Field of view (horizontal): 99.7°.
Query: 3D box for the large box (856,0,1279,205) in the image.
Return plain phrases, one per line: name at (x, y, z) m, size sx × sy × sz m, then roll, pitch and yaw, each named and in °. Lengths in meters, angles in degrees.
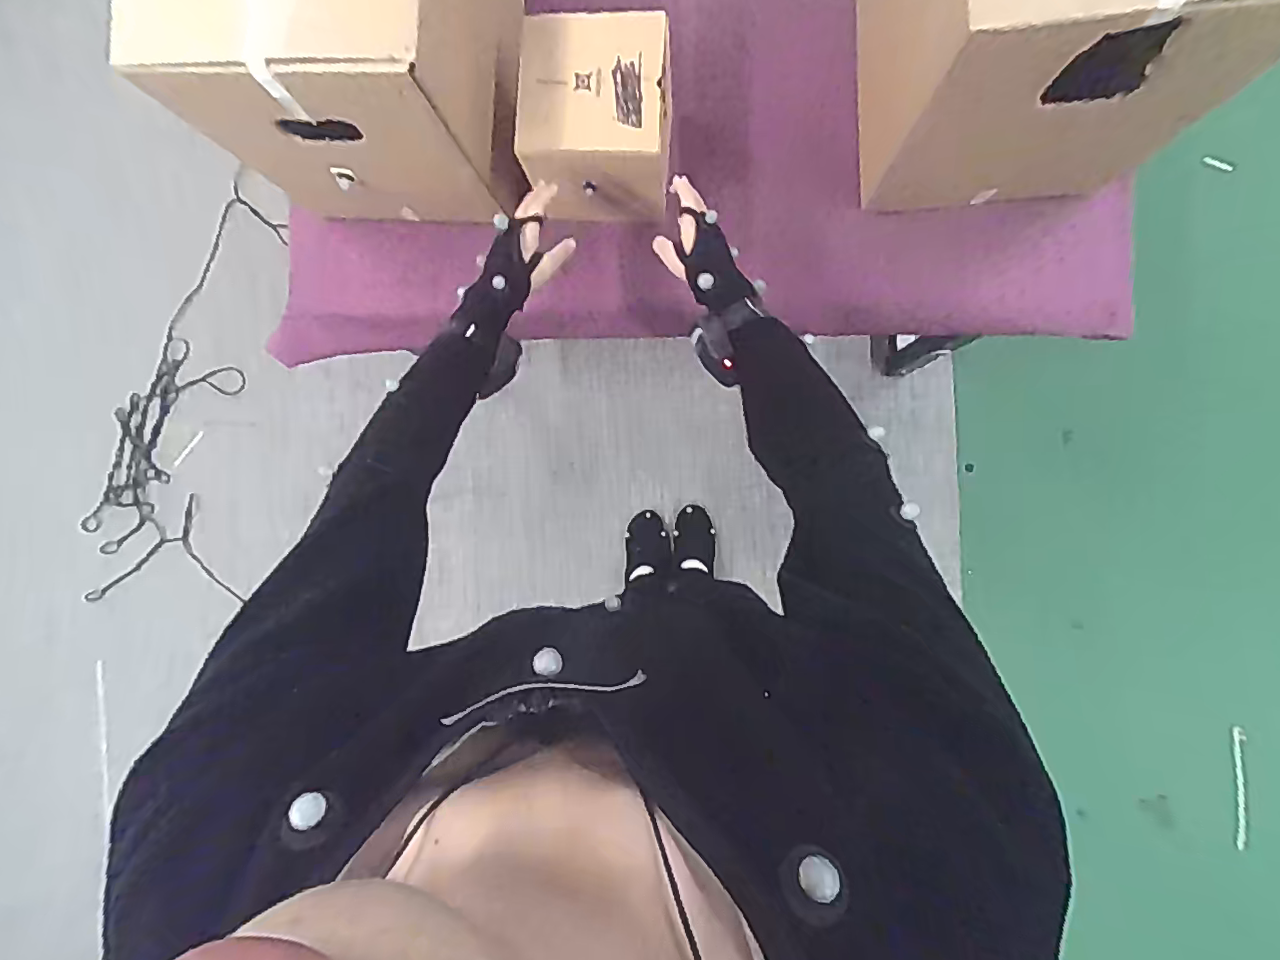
large box at (0.445, -0.589, 0.602) m, size 0.320 × 0.320 × 0.408 m, roll -2°, pitch 90°, yaw 7°
